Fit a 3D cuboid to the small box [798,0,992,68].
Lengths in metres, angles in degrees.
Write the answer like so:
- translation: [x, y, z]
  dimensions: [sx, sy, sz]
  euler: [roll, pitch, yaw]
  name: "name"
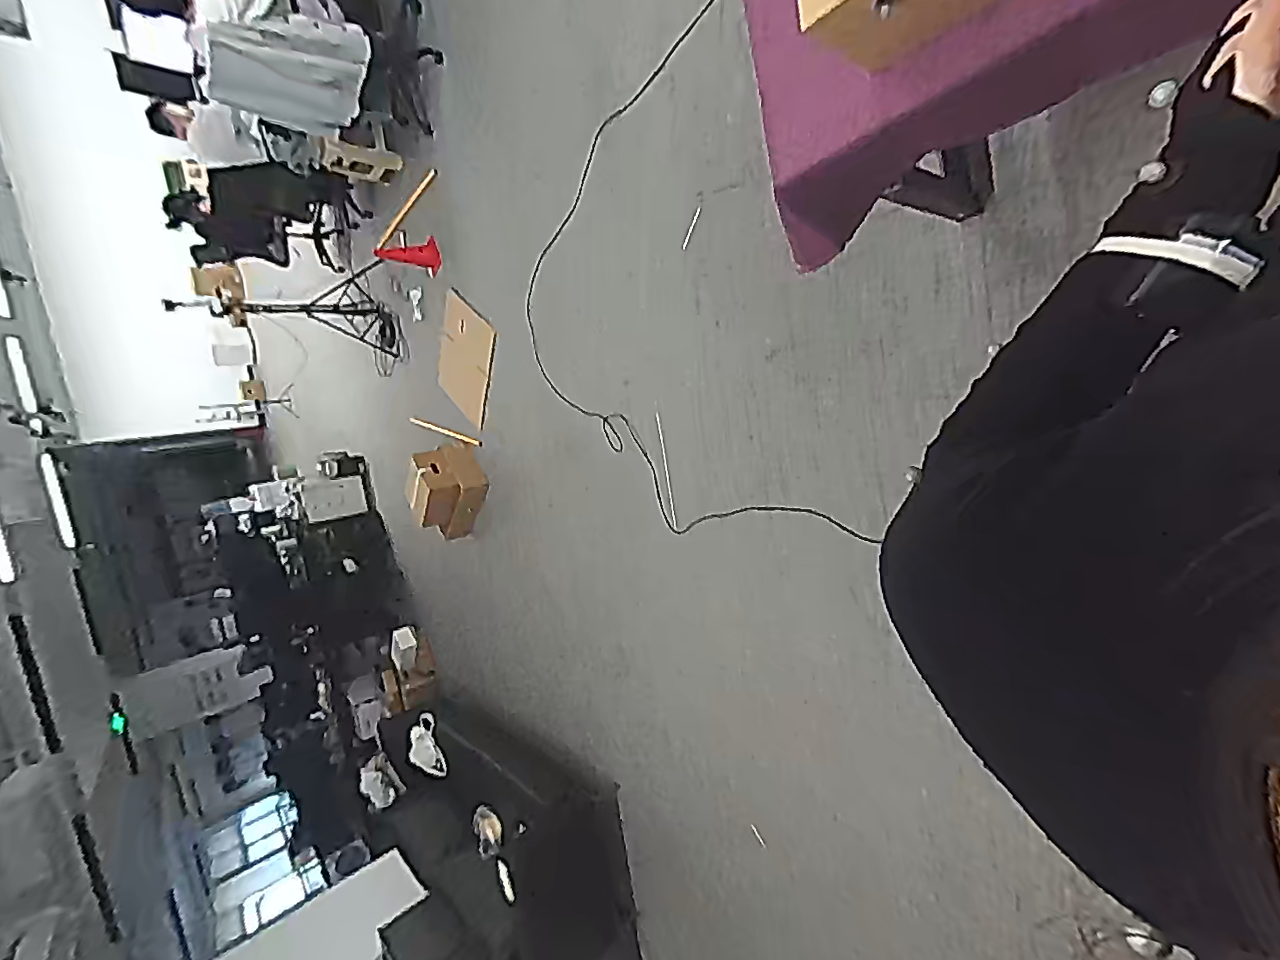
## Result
- translation: [0.289, -0.603, 0.593]
  dimensions: [0.179, 0.176, 0.168]
  euler: [0, 101, 49]
  name: "small box"
